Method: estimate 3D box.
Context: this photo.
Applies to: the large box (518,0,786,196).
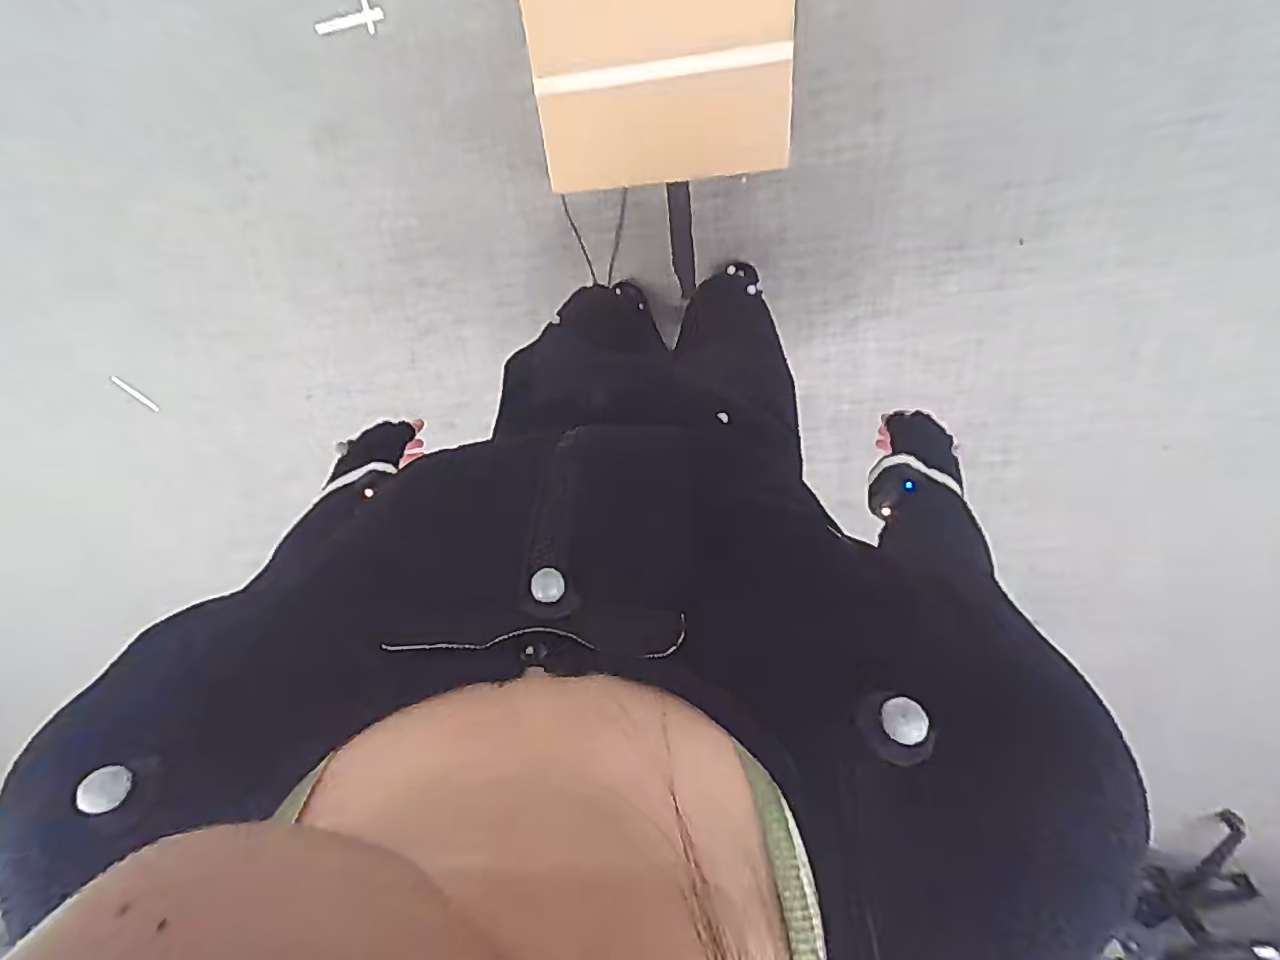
[{"bbox_3d":[0.039,-0.718,0.971,0.408,0.320,0.320,-2,121,7],"label":"large box"}]
